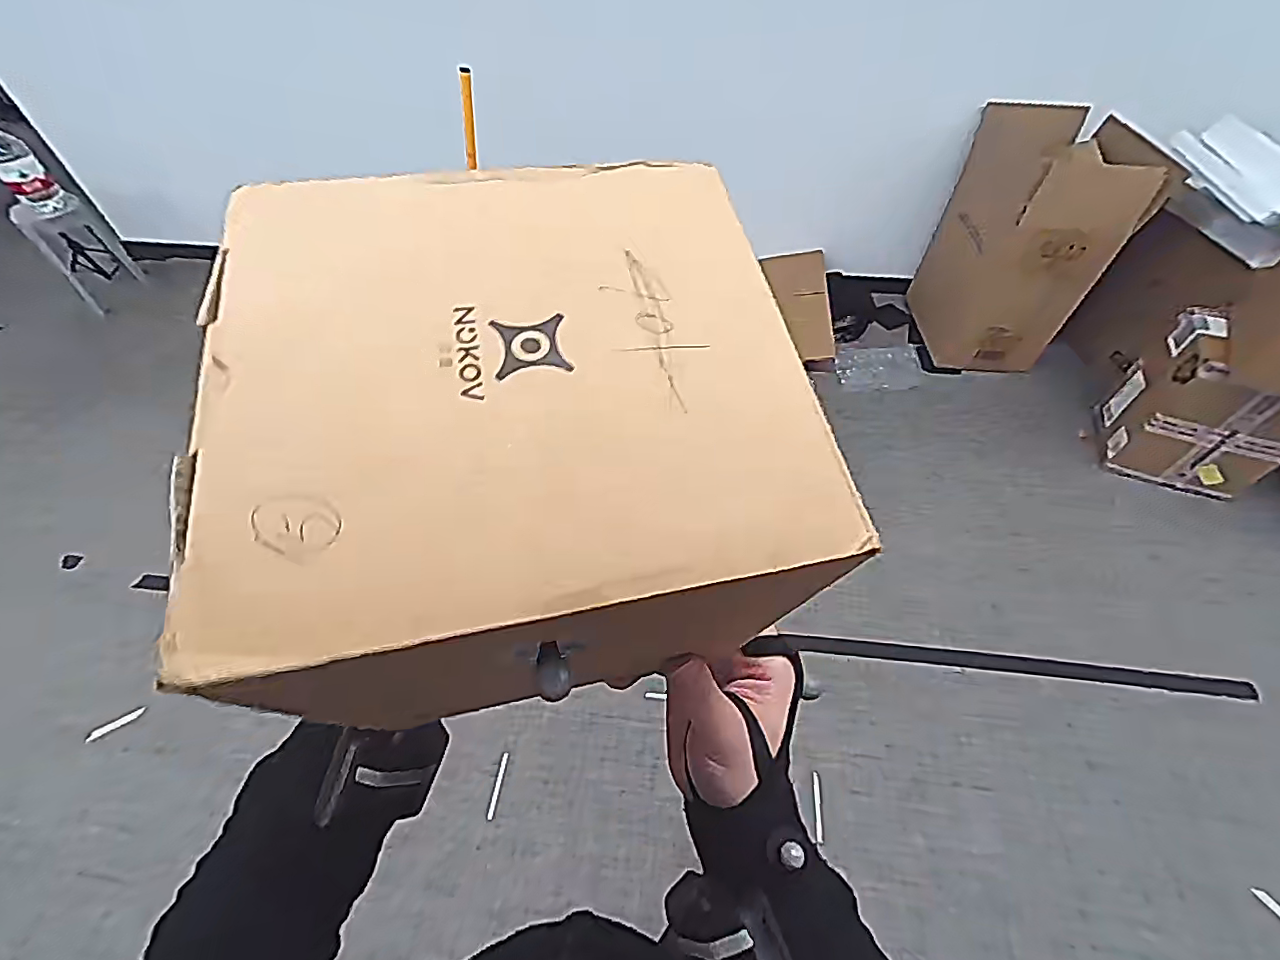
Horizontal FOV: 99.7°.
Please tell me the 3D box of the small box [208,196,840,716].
[{"bbox_3d":[-0.047,0.002,0.251,0.179,0.176,0.168,-10,65,-11],"label":"small box"}]
